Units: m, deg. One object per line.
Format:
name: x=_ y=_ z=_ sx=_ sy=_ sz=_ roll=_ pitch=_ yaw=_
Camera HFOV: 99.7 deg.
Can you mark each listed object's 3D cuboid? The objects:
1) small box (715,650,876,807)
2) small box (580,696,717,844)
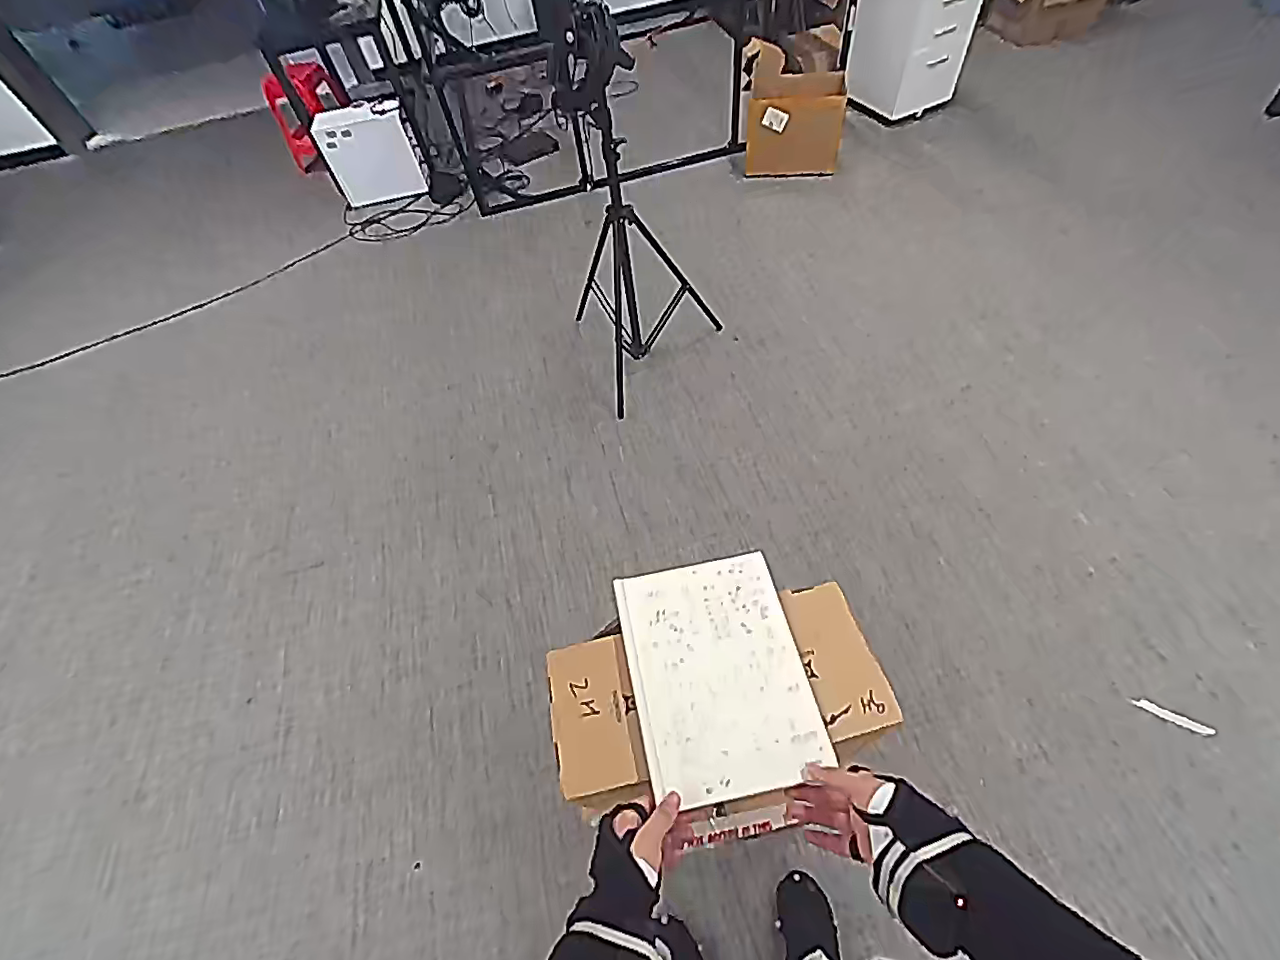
small box: x=0.223 y=0.385 z=0.831 sx=0.179 sy=0.176 sz=0.168 roll=-16 pitch=56 yaw=-4
small box: x=0.015 y=0.439 z=0.819 sx=0.179 sy=0.176 sz=0.168 roll=-10 pitch=56 yaw=2
